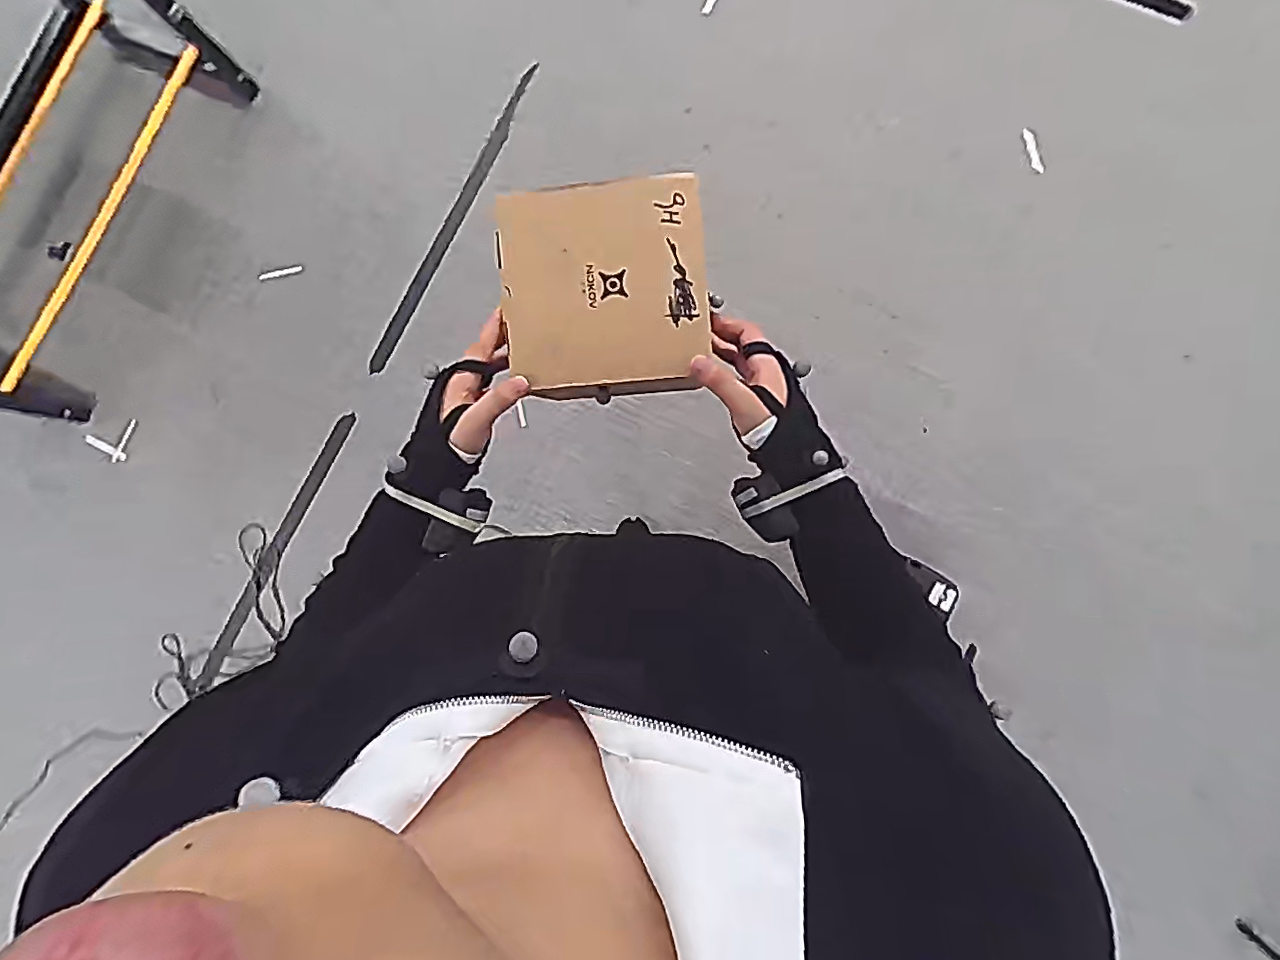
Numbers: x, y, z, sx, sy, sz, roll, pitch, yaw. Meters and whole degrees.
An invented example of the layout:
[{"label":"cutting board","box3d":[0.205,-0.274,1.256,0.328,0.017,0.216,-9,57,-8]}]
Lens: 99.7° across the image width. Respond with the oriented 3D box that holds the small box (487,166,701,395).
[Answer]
[{"label":"small box","box3d":[-0.033,-0.178,0.536,0.179,0.176,0.168,-4,95,4]}]
